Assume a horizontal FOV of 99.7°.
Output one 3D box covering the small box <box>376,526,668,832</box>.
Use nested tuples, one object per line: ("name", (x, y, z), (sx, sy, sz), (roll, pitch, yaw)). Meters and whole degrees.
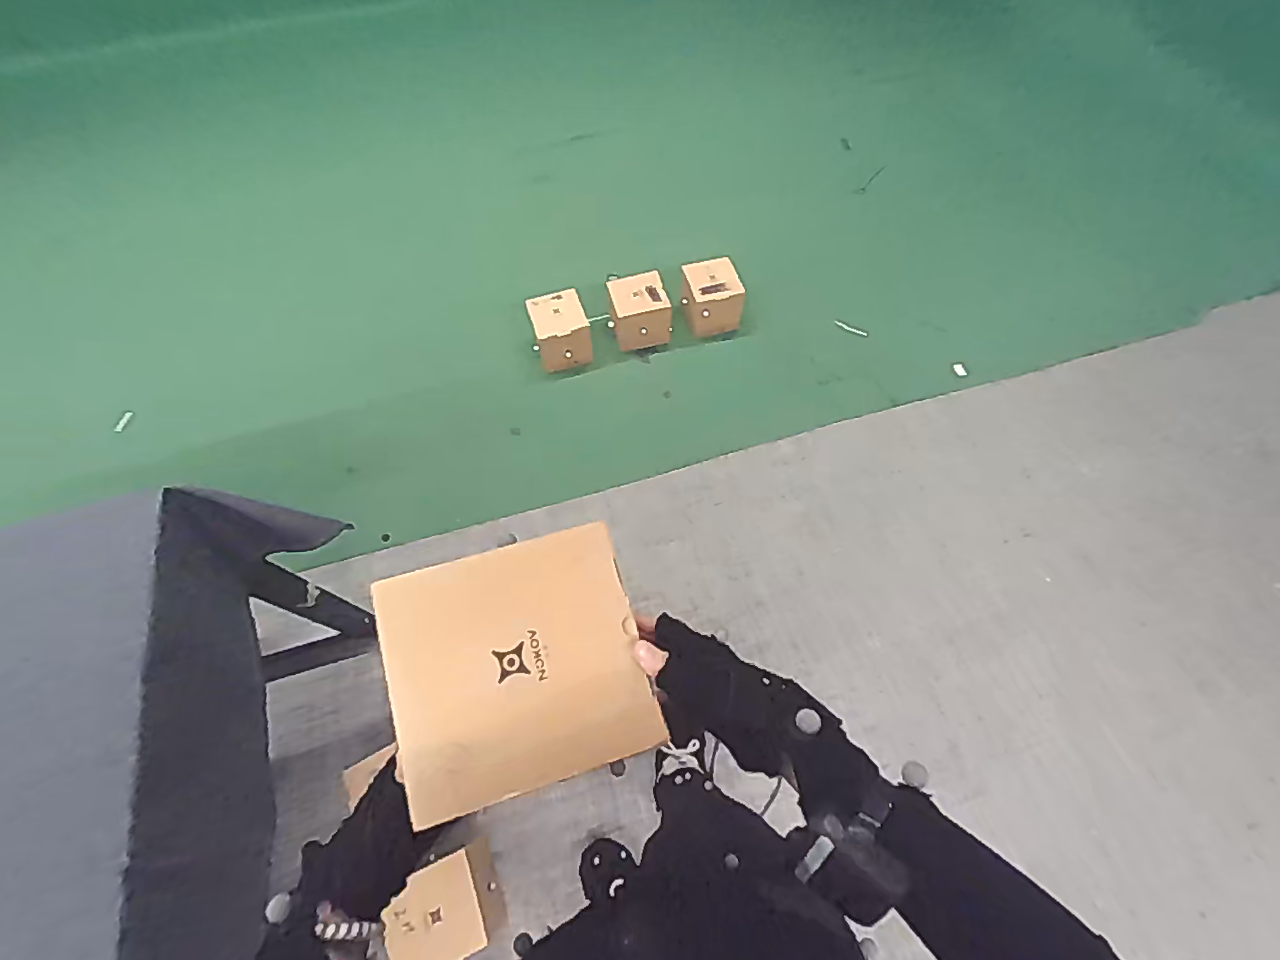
("small box", (-0.091, 0.153, 0.451), (0.179, 0.176, 0.168), (-14, 75, -11))

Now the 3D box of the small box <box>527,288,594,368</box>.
("small box", (-0.254, -0.485, 1.755), (0.168, 0.176, 0.179), (-17, 65, -7))

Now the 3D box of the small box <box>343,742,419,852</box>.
("small box", (-0.500, 0.667, 1.175), (0.179, 0.176, 0.168), (-27, 66, -11))
